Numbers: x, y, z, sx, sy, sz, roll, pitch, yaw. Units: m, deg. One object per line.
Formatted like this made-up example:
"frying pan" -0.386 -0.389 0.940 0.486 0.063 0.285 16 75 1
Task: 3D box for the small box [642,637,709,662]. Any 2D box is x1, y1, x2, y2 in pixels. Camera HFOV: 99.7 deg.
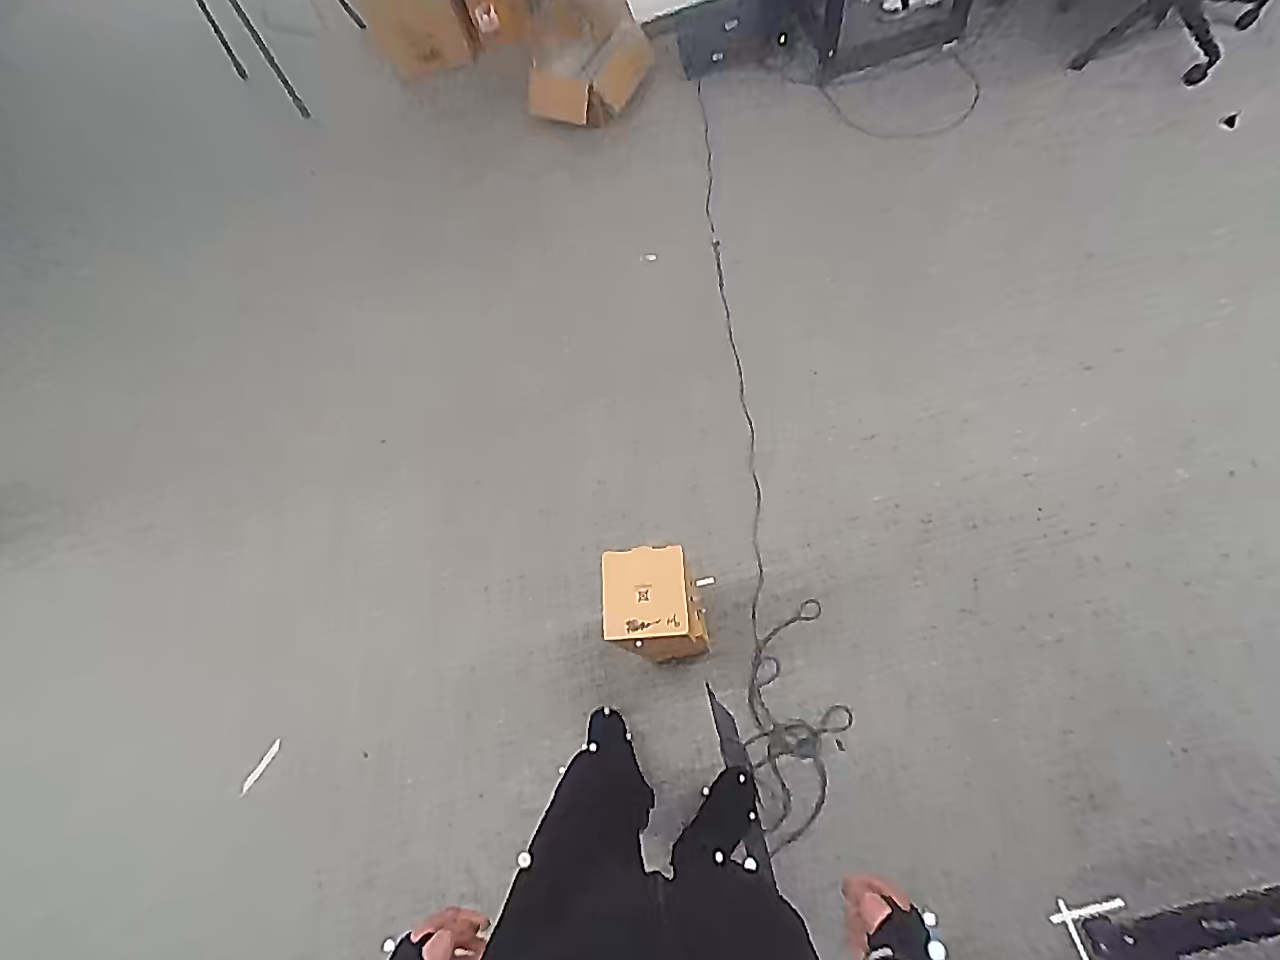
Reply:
"small box" 0.081 0.370 1.421 0.168 0.176 0.179 -14 66 5

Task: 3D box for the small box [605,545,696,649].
"small box" 0.024 0.248 1.124 0.168 0.176 0.179 -6 66 8

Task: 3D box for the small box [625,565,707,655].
"small box" 0.054 0.308 1.274 0.179 0.176 0.168 -13 66 5
